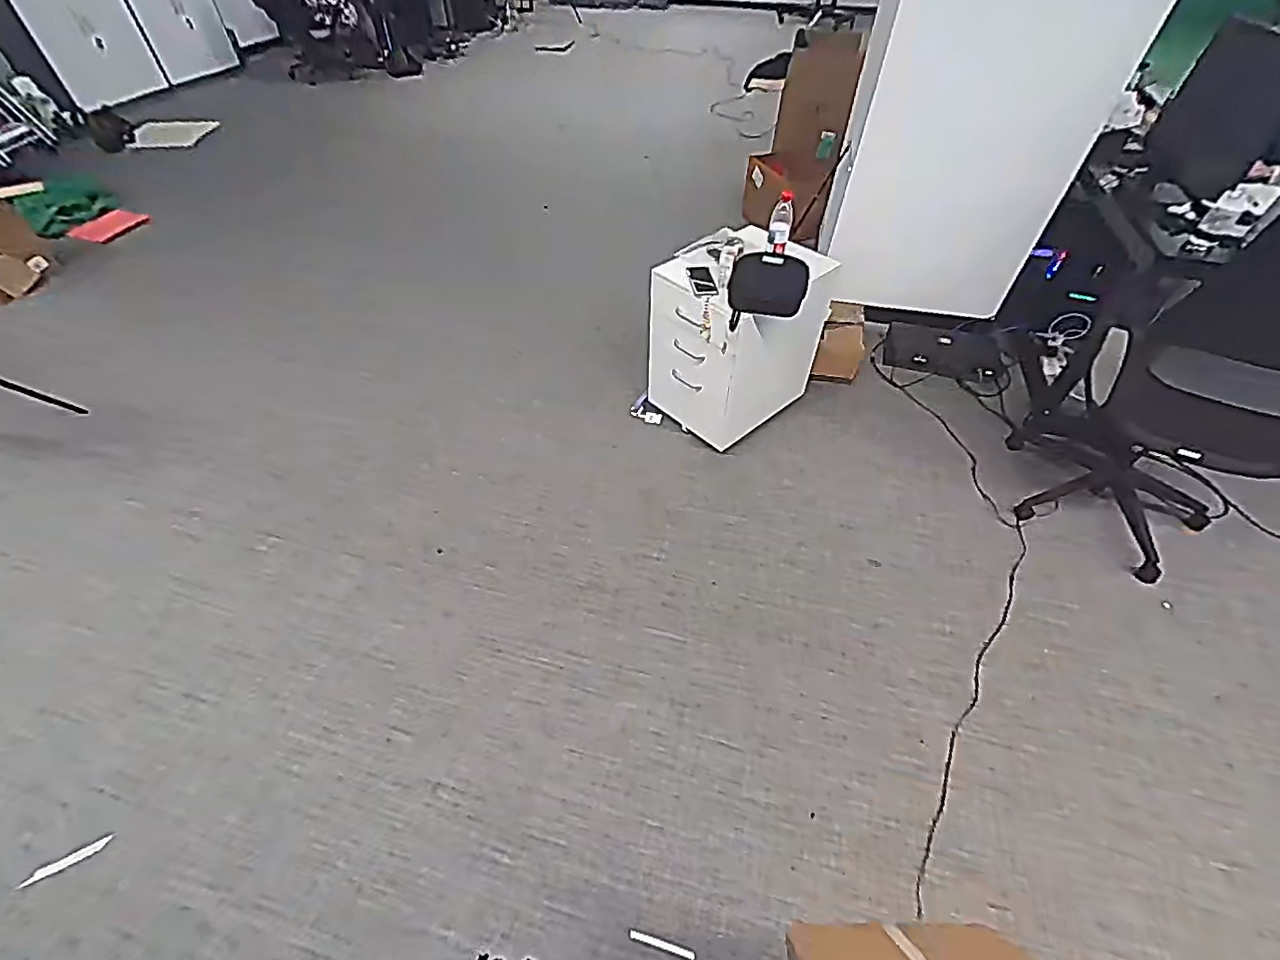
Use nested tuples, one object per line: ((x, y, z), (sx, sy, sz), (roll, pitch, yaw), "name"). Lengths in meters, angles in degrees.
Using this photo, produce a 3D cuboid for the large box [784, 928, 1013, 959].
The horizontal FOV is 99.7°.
((0.374, 0.781, 0.596), (0.320, 0.408, 0.320), (-1, 74, -1), "large box")
